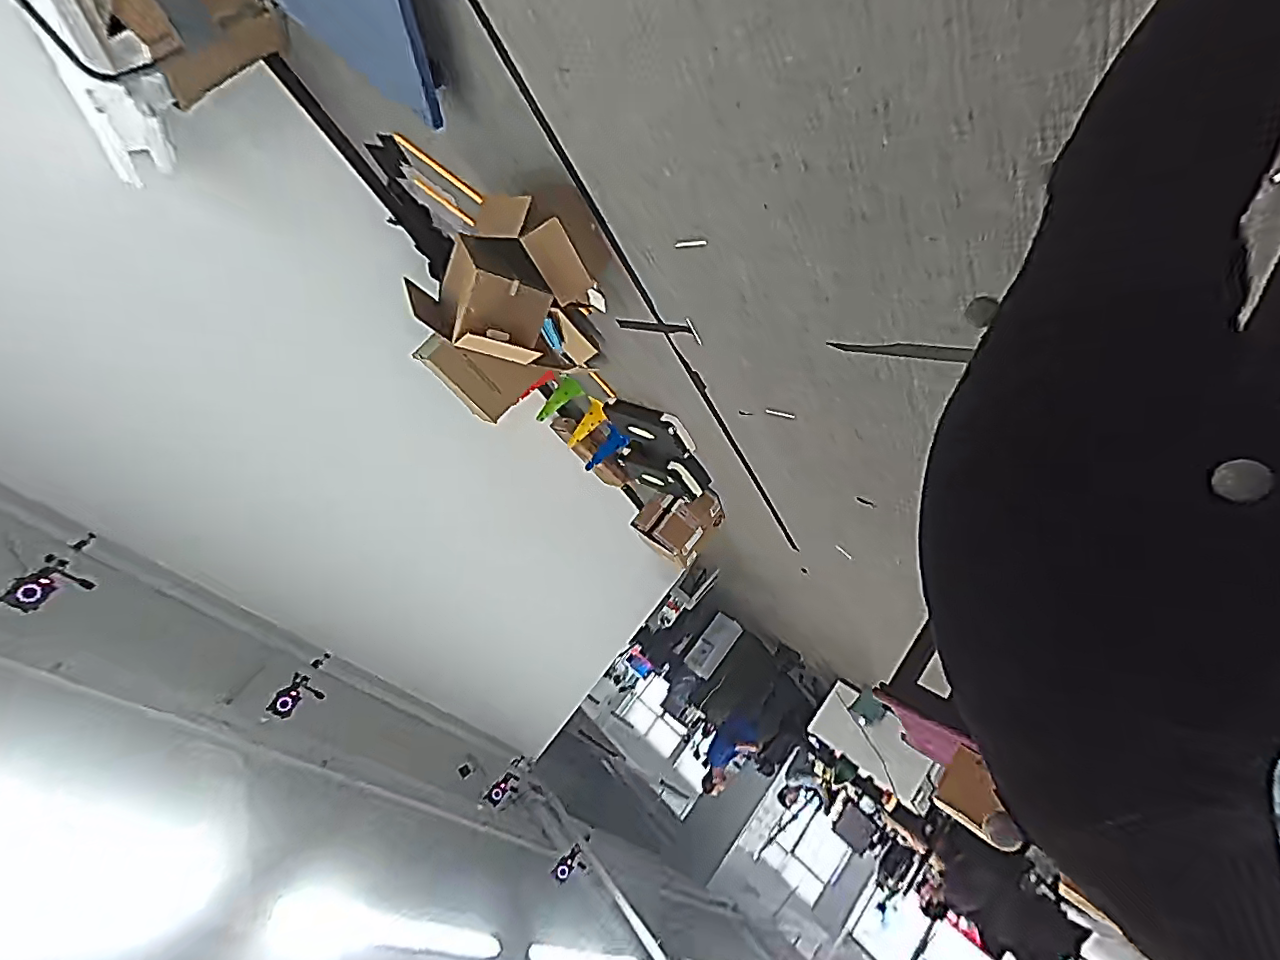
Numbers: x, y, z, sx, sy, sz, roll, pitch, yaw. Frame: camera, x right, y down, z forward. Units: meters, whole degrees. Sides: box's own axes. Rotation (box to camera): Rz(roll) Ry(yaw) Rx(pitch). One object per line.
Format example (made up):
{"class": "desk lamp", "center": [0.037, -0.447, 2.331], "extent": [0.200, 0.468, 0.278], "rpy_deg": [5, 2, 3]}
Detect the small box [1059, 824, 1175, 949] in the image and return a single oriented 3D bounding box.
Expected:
{"class": "small box", "center": [1.144, 0.974, 1.301], "extent": [0.168, 0.176, 0.179], "rpy_deg": [24, 158, 48]}
